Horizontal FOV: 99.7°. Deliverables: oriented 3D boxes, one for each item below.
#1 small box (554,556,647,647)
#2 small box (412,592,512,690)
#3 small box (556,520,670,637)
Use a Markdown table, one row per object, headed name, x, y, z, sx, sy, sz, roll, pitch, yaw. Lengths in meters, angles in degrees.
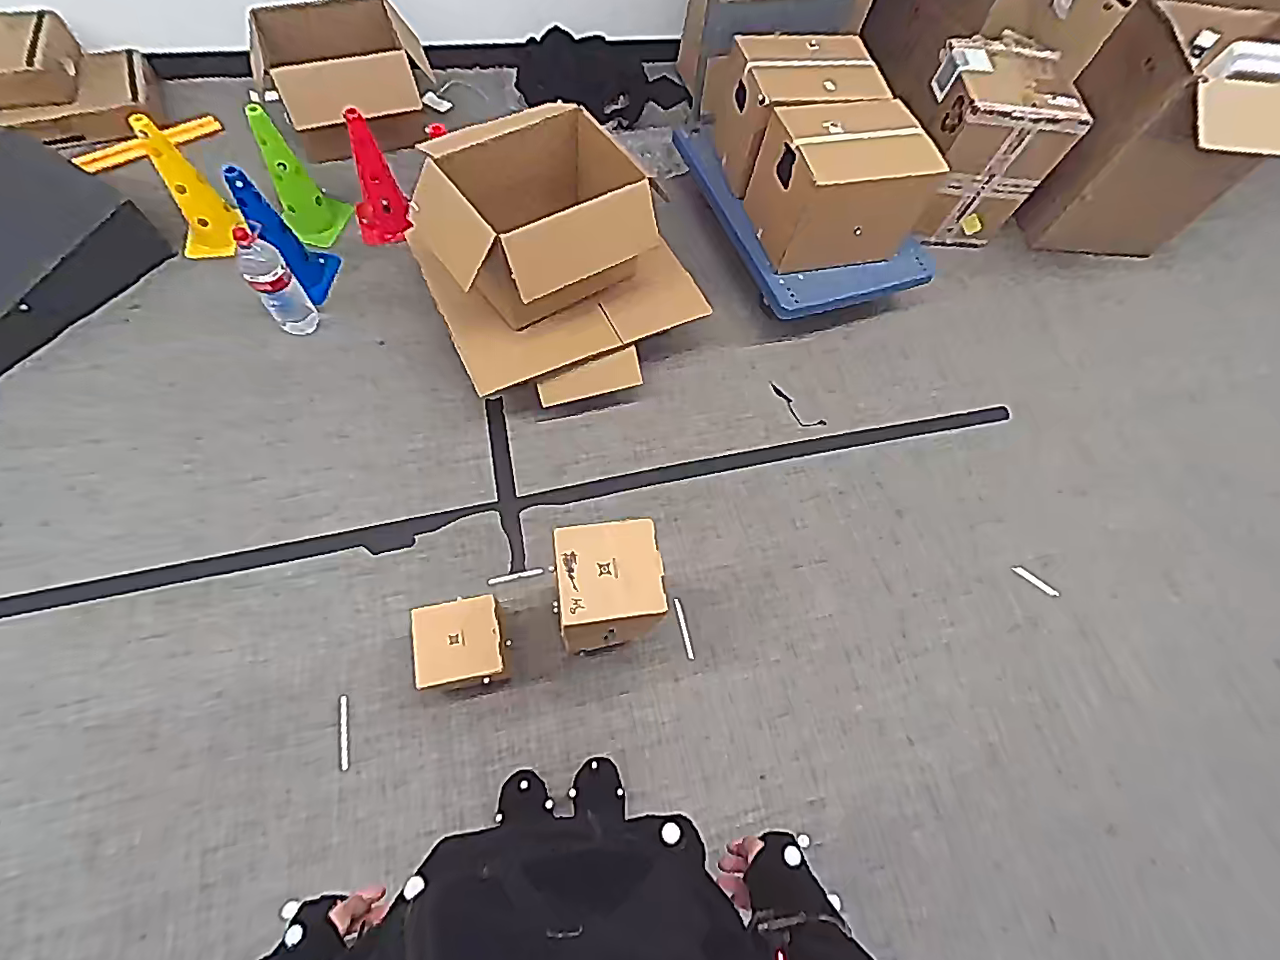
| name | x | y | z | sx | sy | sz | roll | pitch | yaw |
| --- | --- | --- | --- | --- | --- | --- | --- | --- | --- |
| small box | -0.078 | 0.242 | 1.120 | 0.179 | 0.176 | 0.168 | -8 | 68 | -11 |
| small box | -0.393 | 0.365 | 1.209 | 0.179 | 0.176 | 0.168 | -10 | 68 | -11 |
| small box | -0.058 | 0.179 | 0.969 | 0.179 | 0.176 | 0.168 | -5 | 67 | -10 |
